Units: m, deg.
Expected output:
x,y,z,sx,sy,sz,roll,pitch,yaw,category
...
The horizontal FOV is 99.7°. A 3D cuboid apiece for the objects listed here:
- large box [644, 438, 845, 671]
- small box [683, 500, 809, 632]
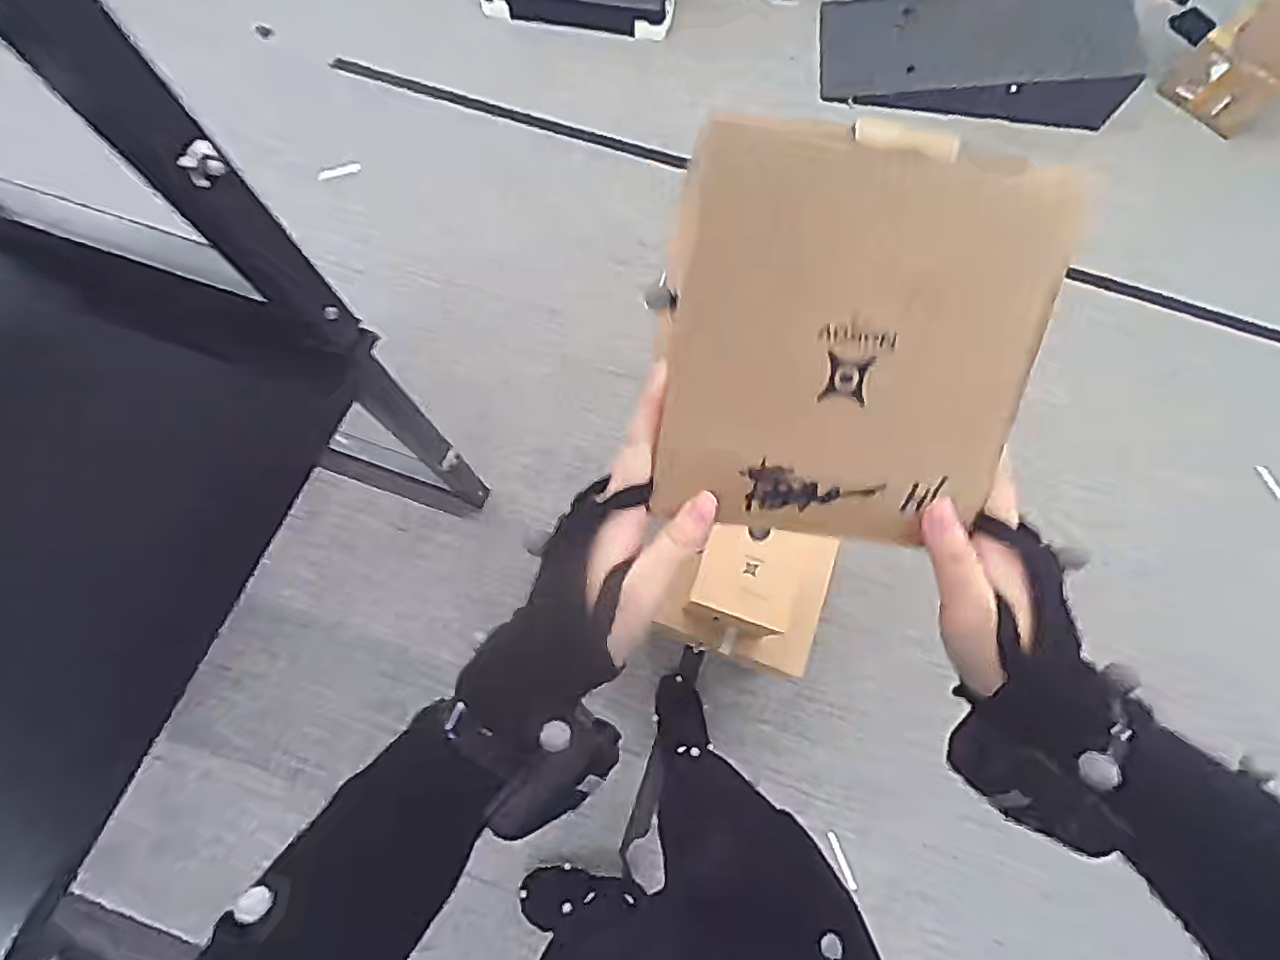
x,y,z,sx,sy,sz,roll,pitch,yaw,category
0.217,0.183,1.227,0.320,0.320,0.408,21,72,3,large box
0.181,0.161,0.975,0.168,0.176,0.179,19,73,6,small box
